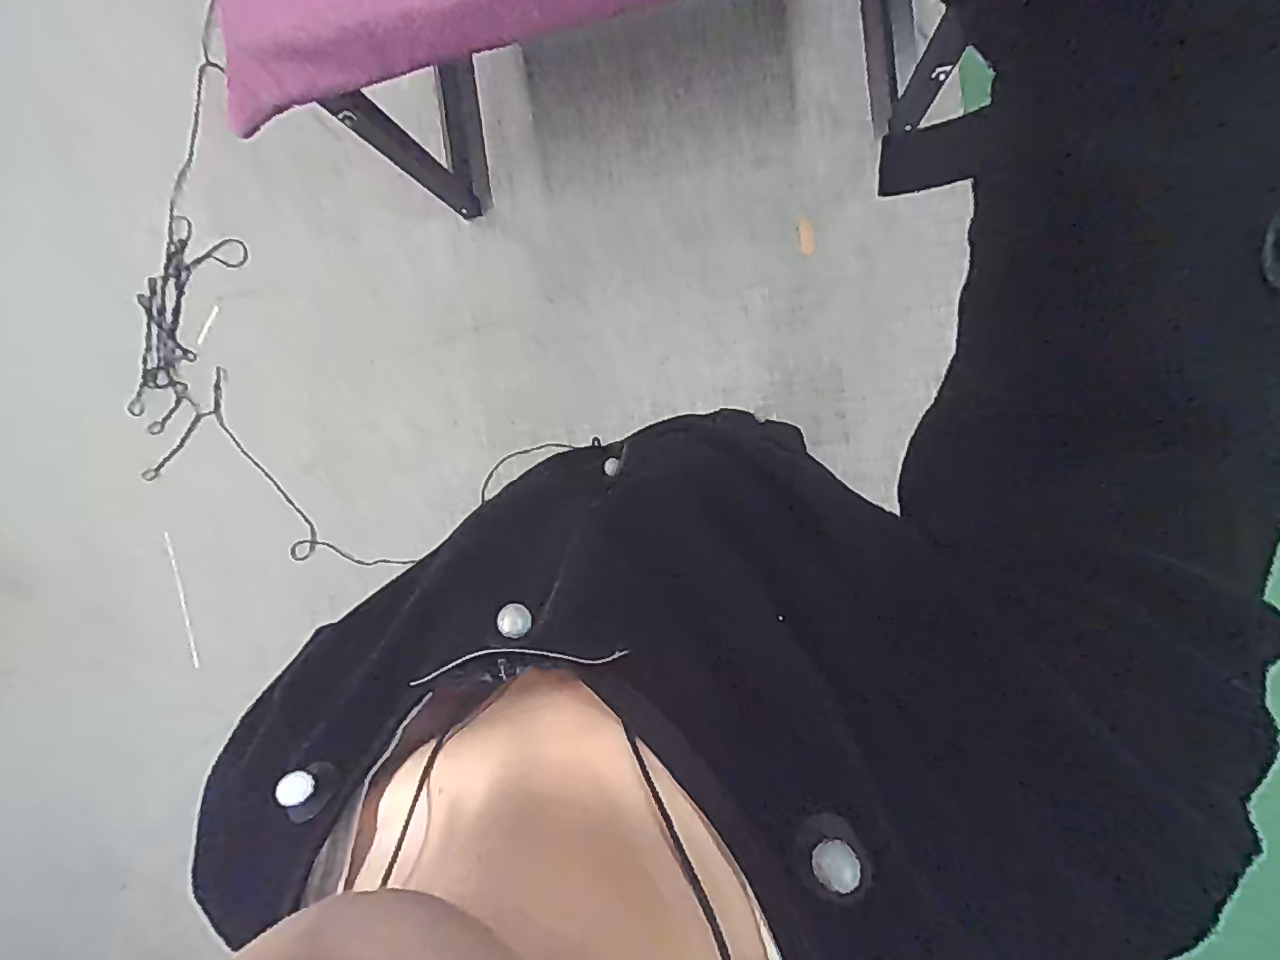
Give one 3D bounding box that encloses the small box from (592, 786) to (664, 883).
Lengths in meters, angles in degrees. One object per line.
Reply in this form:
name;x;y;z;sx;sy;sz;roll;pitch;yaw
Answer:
small box;-0.035;0.981;1.498;0.179;0.176;0.168;-14;92;10
